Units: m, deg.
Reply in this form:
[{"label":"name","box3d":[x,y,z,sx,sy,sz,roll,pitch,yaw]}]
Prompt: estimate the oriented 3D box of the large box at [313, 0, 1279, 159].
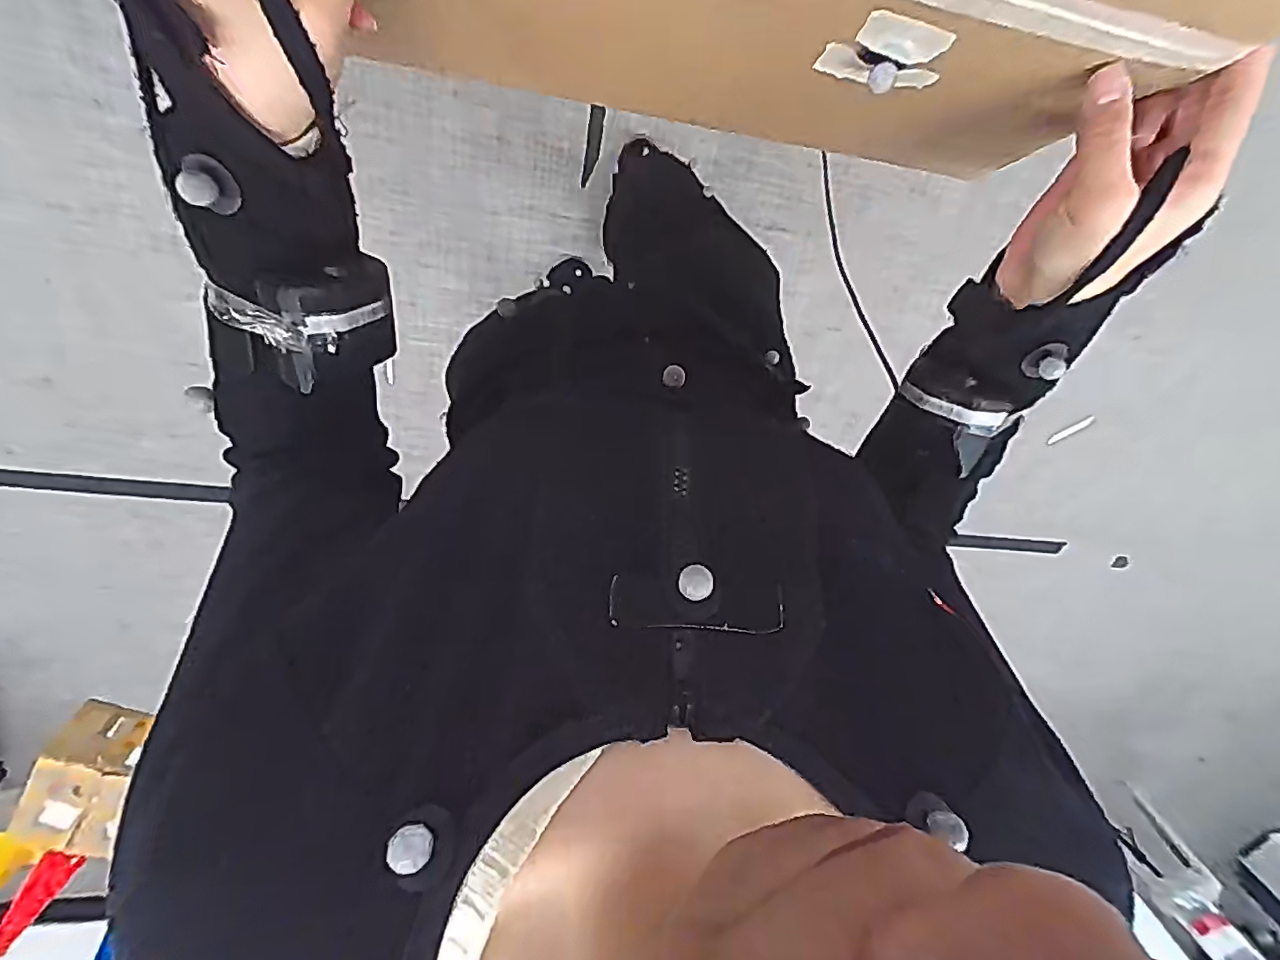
[{"label":"large box","box3d":[0.064,-0.349,0.165,0.408,0.320,0.320,3,102,-10]}]
